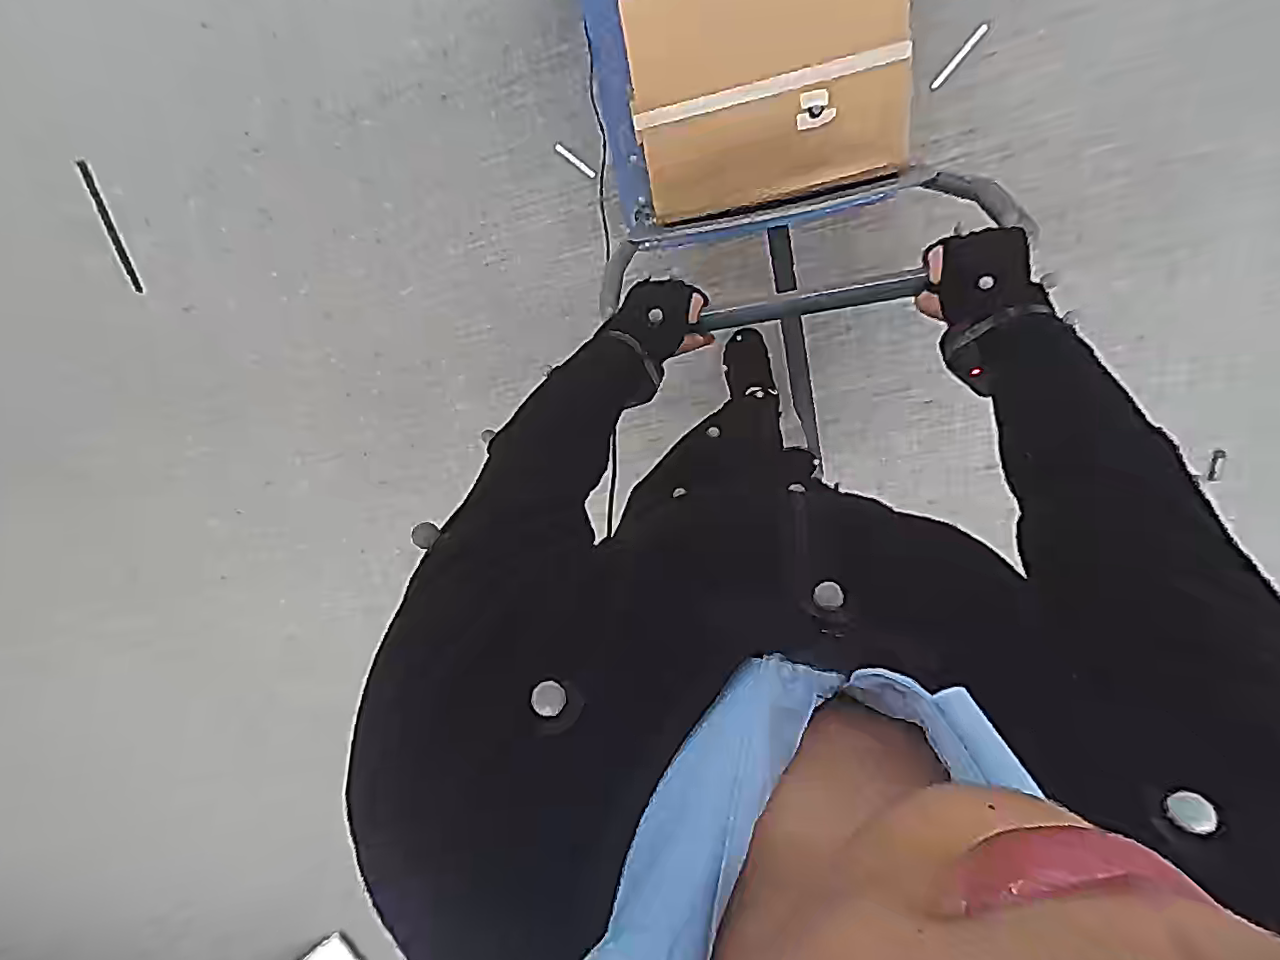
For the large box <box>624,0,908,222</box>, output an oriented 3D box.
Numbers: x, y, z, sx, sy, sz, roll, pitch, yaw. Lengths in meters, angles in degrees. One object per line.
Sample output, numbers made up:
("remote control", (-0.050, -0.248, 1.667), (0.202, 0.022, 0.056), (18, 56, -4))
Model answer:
("large box", (0.214, -0.680, 0.961), (0.408, 0.320, 0.320), (-8, 118, 11))
